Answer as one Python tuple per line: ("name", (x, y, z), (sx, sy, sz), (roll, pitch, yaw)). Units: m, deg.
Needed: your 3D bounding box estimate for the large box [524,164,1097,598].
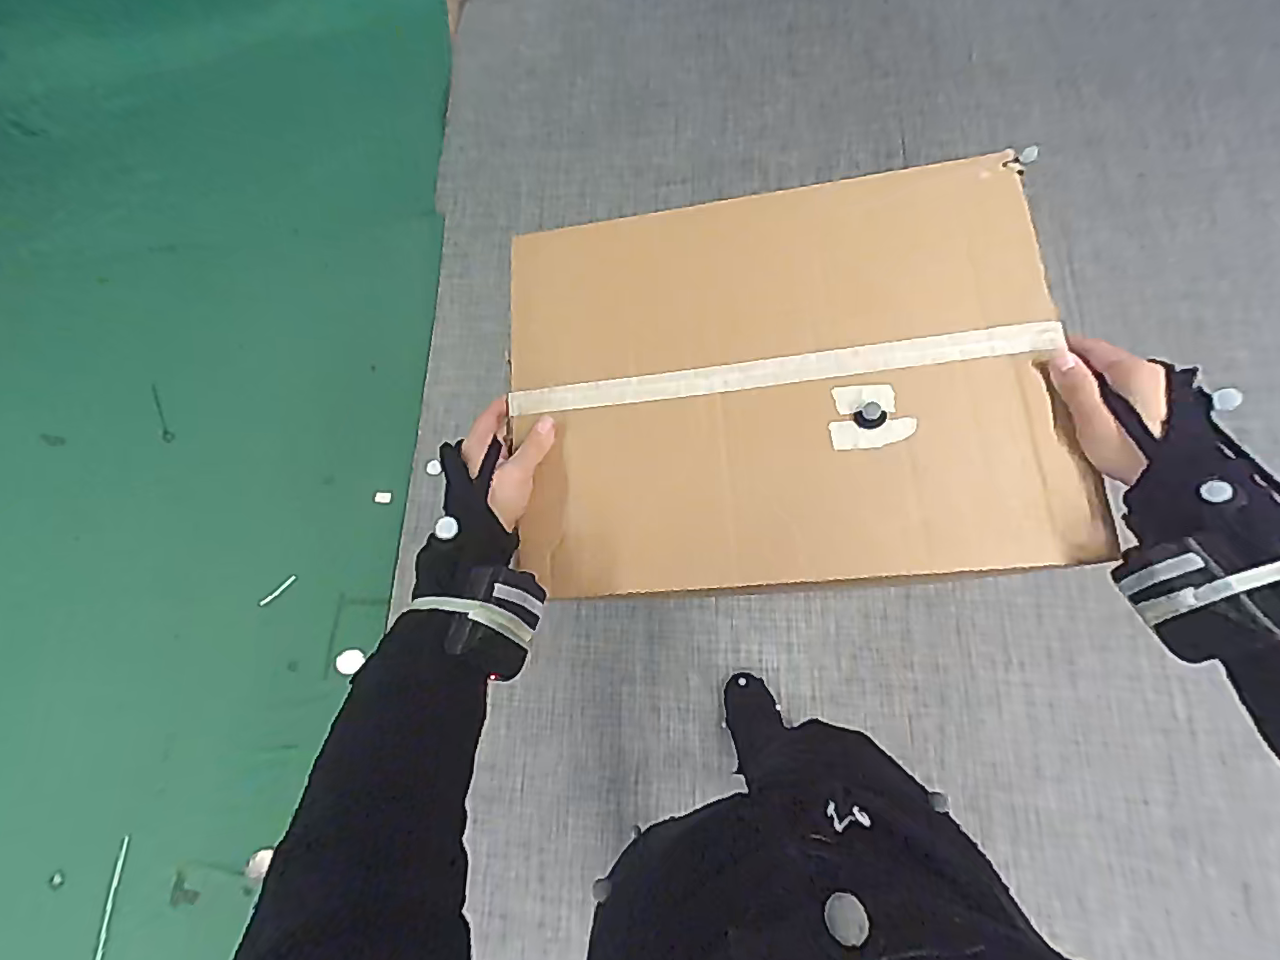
("large box", (0.123, -0.051, 0.564), (0.408, 0.320, 0.320), (-6, 77, 8))
